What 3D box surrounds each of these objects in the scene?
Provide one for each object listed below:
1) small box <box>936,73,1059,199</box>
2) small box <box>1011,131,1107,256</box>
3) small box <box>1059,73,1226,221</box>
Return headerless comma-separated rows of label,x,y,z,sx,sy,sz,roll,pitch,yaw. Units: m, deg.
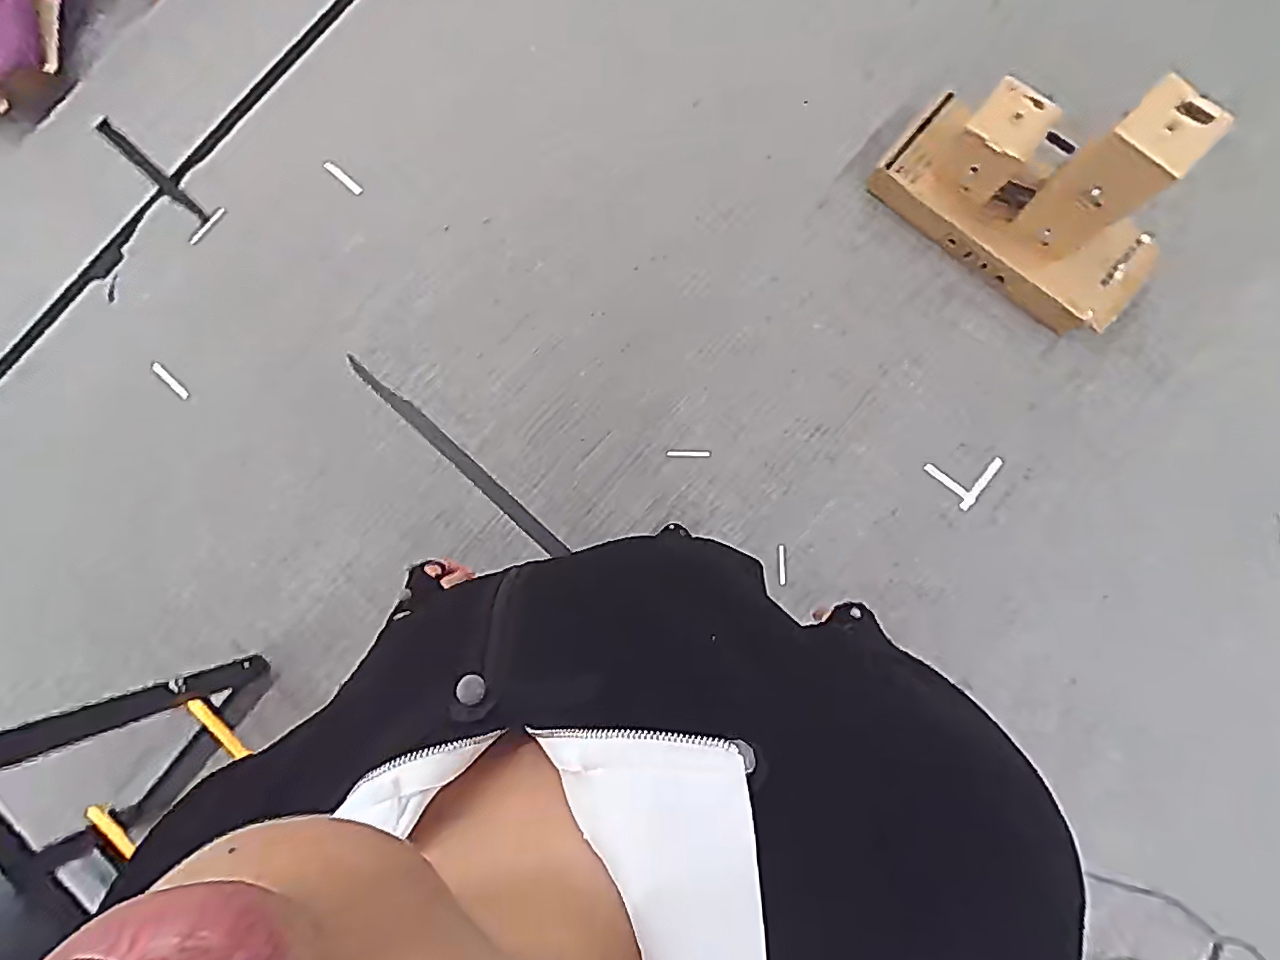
small box,0.891,-0.862,1.374,0.168,0.176,0.179,38,87,5
small box,1.084,-0.708,1.351,0.168,0.176,0.179,40,87,6
small box,1.086,-0.720,1.187,0.168,0.176,0.179,44,88,6
